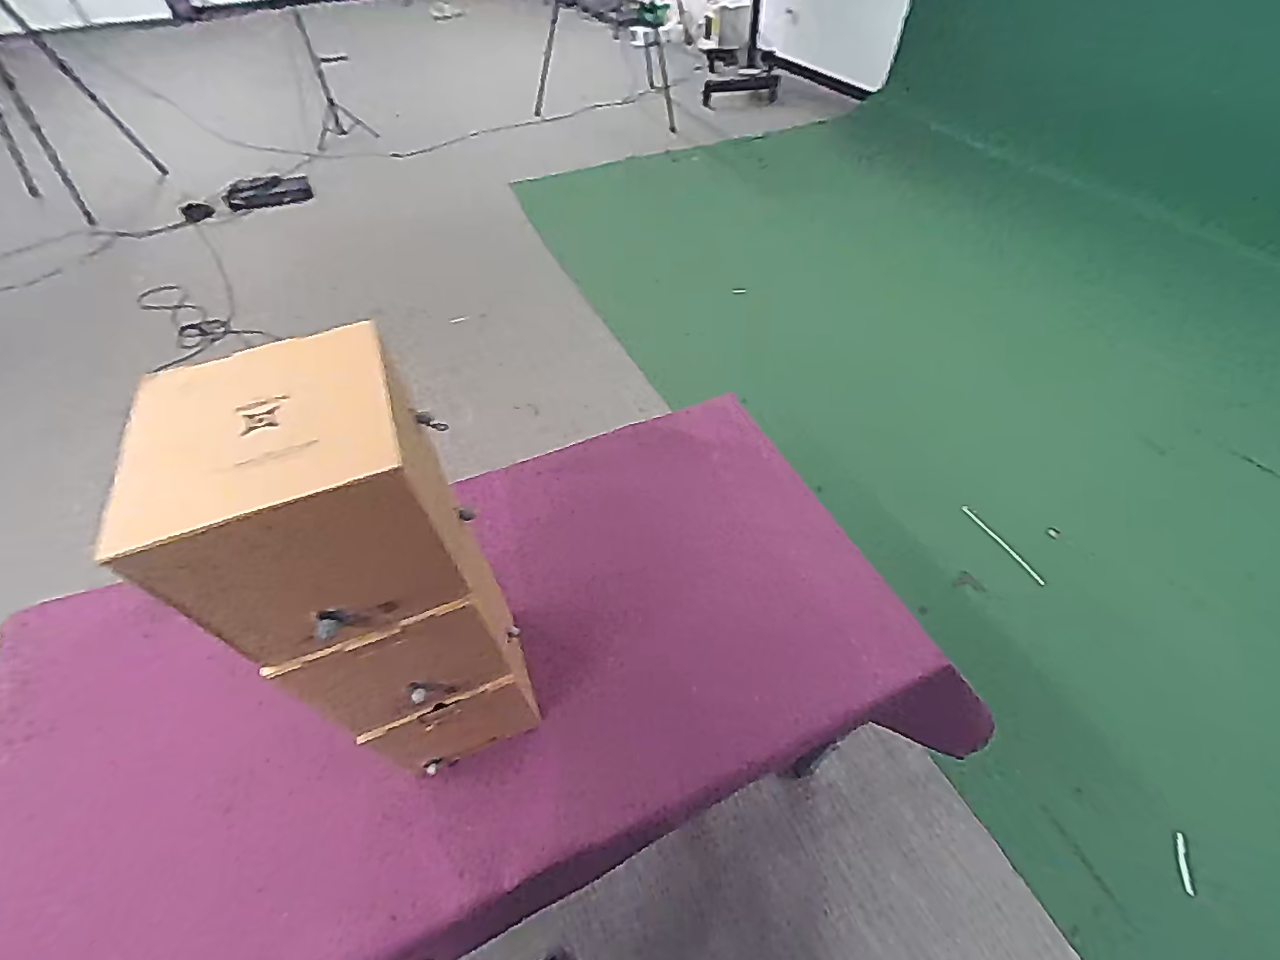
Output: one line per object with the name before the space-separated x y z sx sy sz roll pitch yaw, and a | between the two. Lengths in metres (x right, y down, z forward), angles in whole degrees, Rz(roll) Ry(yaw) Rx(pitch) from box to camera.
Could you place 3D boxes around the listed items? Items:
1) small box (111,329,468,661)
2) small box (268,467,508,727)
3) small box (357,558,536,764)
small box | -0.253 0.012 0.435 0.168 0.176 0.179 -19 52 -13
small box | -0.248 0.120 0.557 0.168 0.176 0.179 -19 52 -13
small box | -0.240 0.231 0.678 0.168 0.176 0.179 -18 51 -13
